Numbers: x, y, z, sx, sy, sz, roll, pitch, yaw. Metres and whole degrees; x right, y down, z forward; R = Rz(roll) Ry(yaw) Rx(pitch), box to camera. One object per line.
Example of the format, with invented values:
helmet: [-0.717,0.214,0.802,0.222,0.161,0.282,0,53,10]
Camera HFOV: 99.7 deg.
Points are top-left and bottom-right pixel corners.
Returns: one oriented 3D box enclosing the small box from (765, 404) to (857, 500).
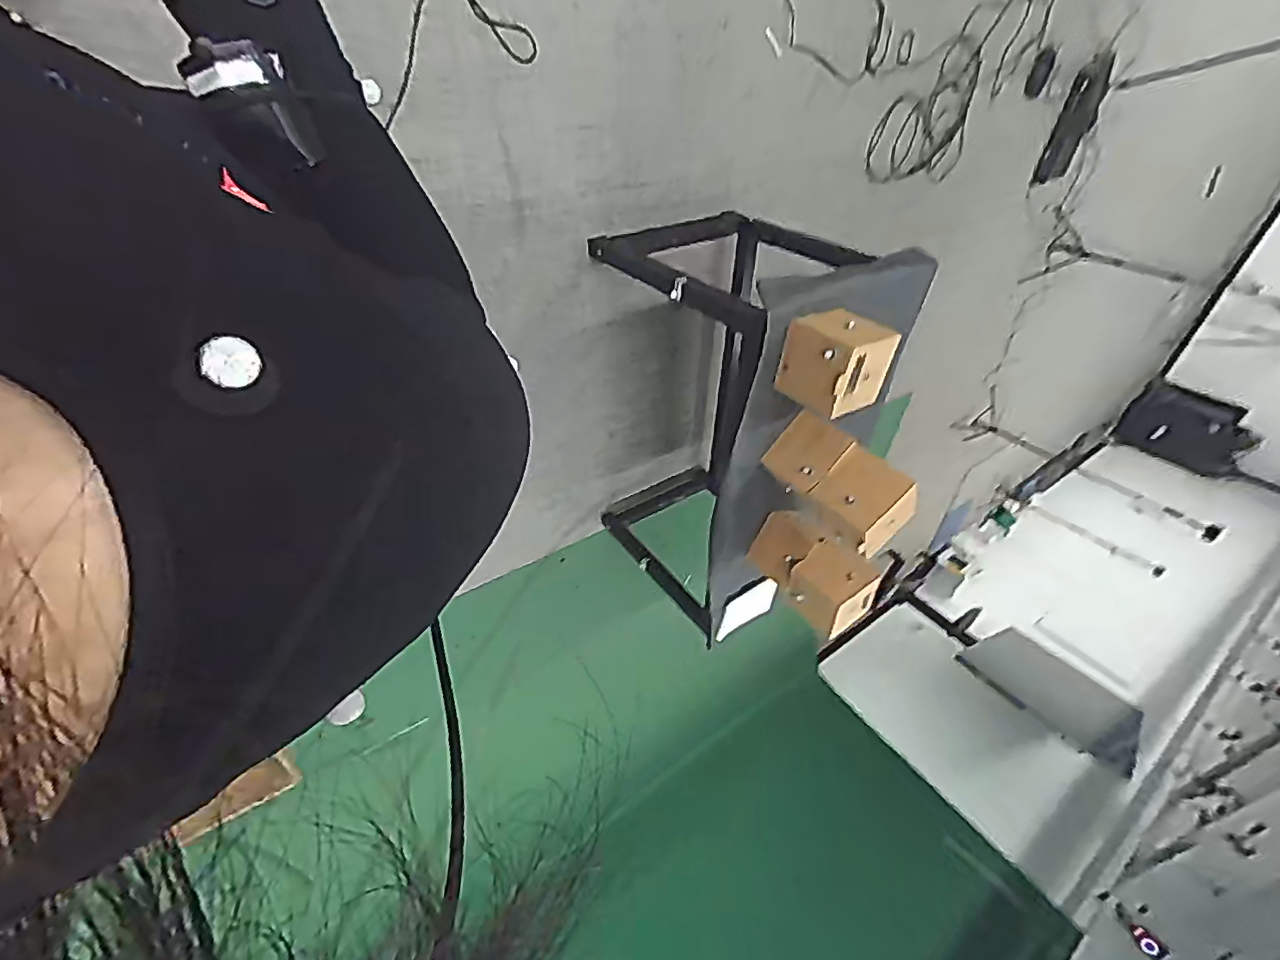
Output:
small box: [0.449,-0.065,1.411,0.179,0.176,0.168,-51,142,4]

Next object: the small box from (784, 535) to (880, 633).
small box: [0.539,0.287,1.530,0.179,0.176,0.168,-28,136,-23]

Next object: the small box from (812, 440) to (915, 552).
small box: [0.537,0.037,1.317,0.179,0.176,0.168,-44,143,-6]

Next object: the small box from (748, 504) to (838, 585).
small box: [0.456,0.193,1.637,0.168,0.176,0.179,5,118,-45]
